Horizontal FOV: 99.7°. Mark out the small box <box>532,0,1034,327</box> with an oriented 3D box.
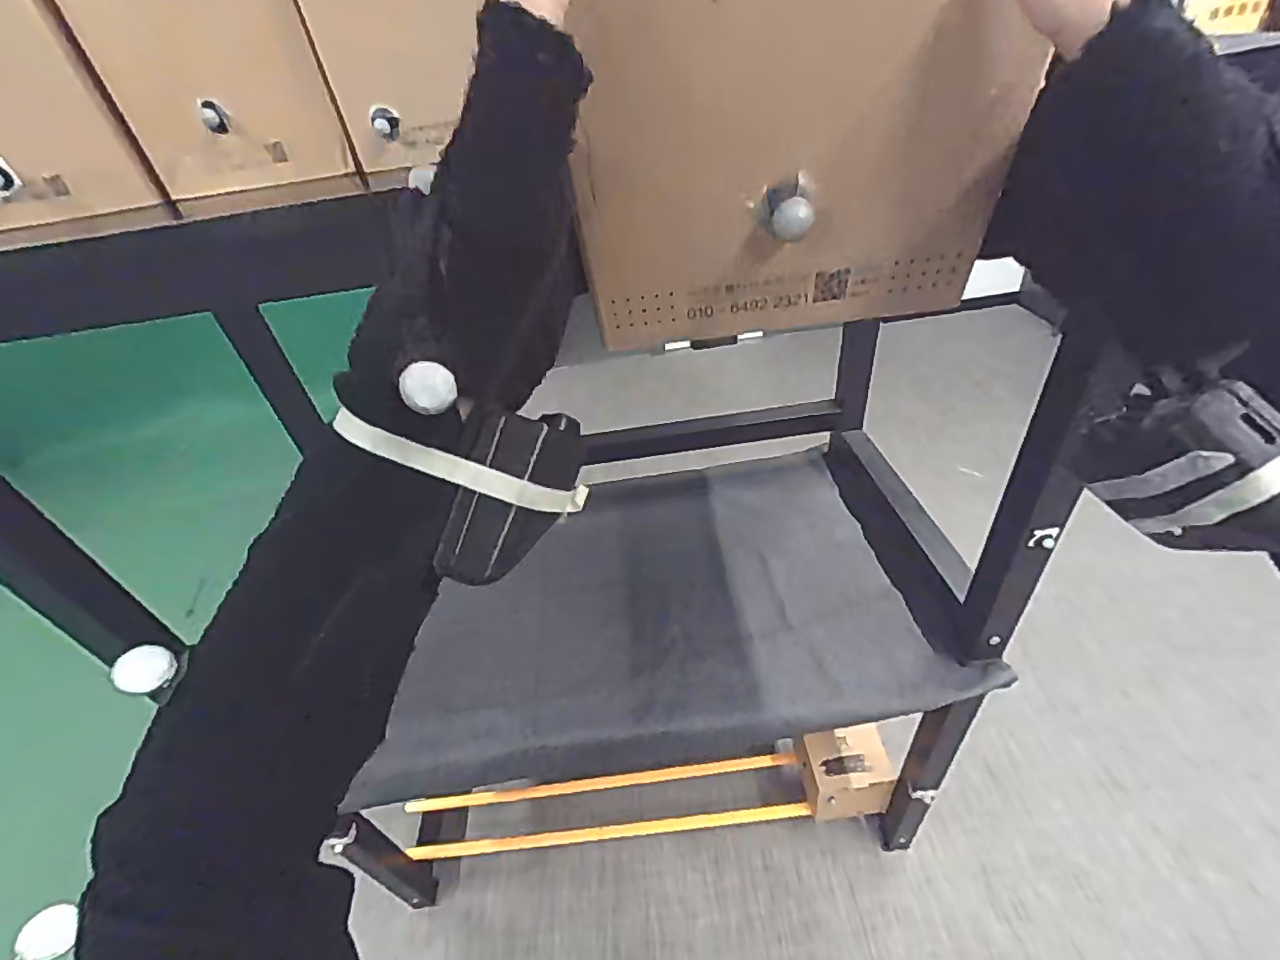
[{"bbox_3d":[0.046,-0.194,0.248,0.168,0.176,0.179,-7,48,4],"label":"small box"}]
